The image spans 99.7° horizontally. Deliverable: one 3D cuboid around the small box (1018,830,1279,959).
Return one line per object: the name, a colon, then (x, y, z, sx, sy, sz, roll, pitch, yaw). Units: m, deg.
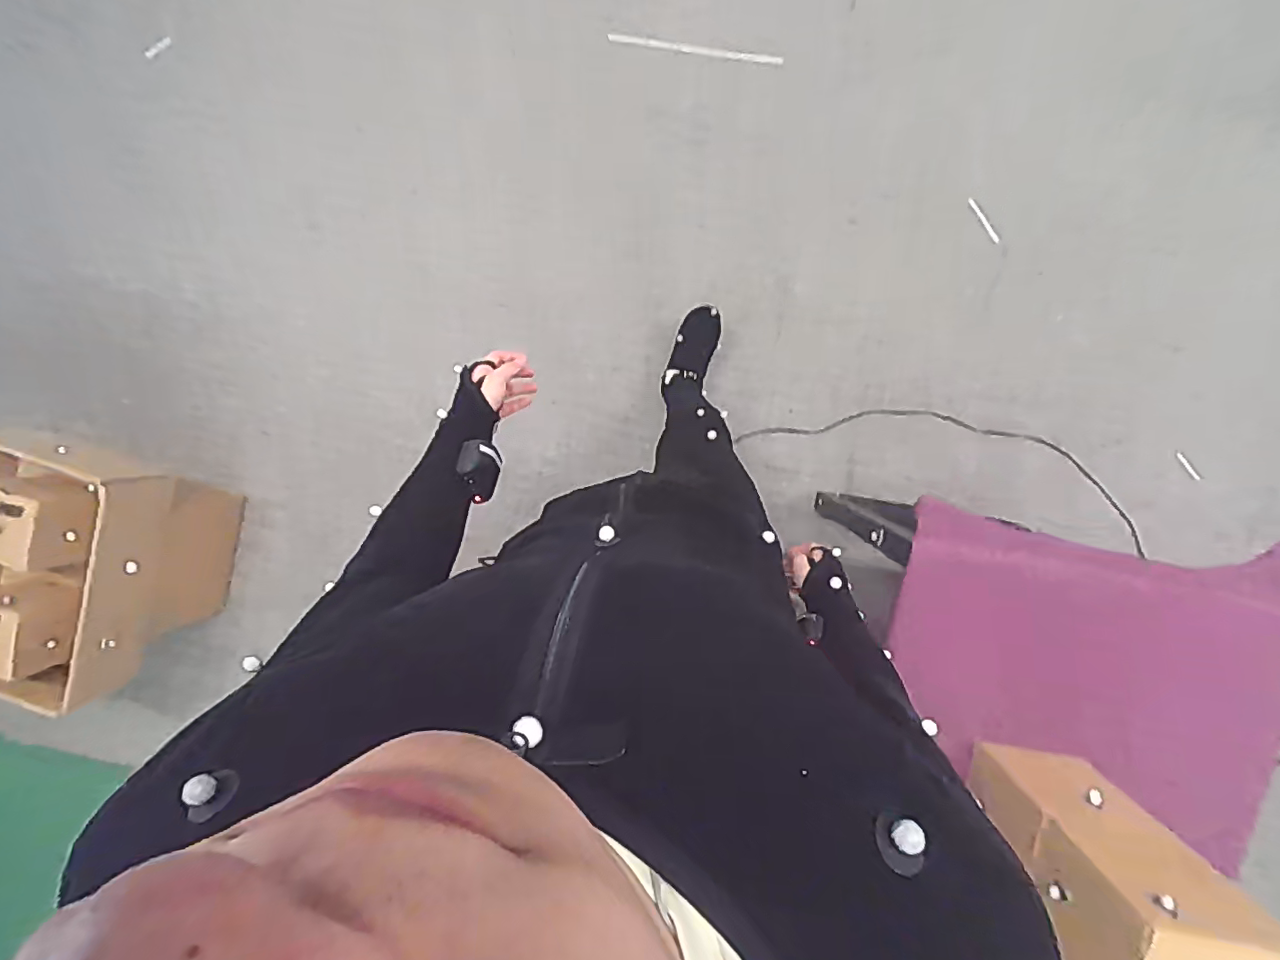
small box: (0.599, 0.554, 0.637, 0.179, 0.176, 0.168, 9, 97, 4)

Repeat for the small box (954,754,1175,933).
small box: (0.608, 0.536, 0.799, 0.179, 0.176, 0.168, 9, 96, 3)

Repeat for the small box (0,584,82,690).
small box: (-1.537, 0.379, 1.328, 0.168, 0.176, 0.179, 15, 98, 3)
